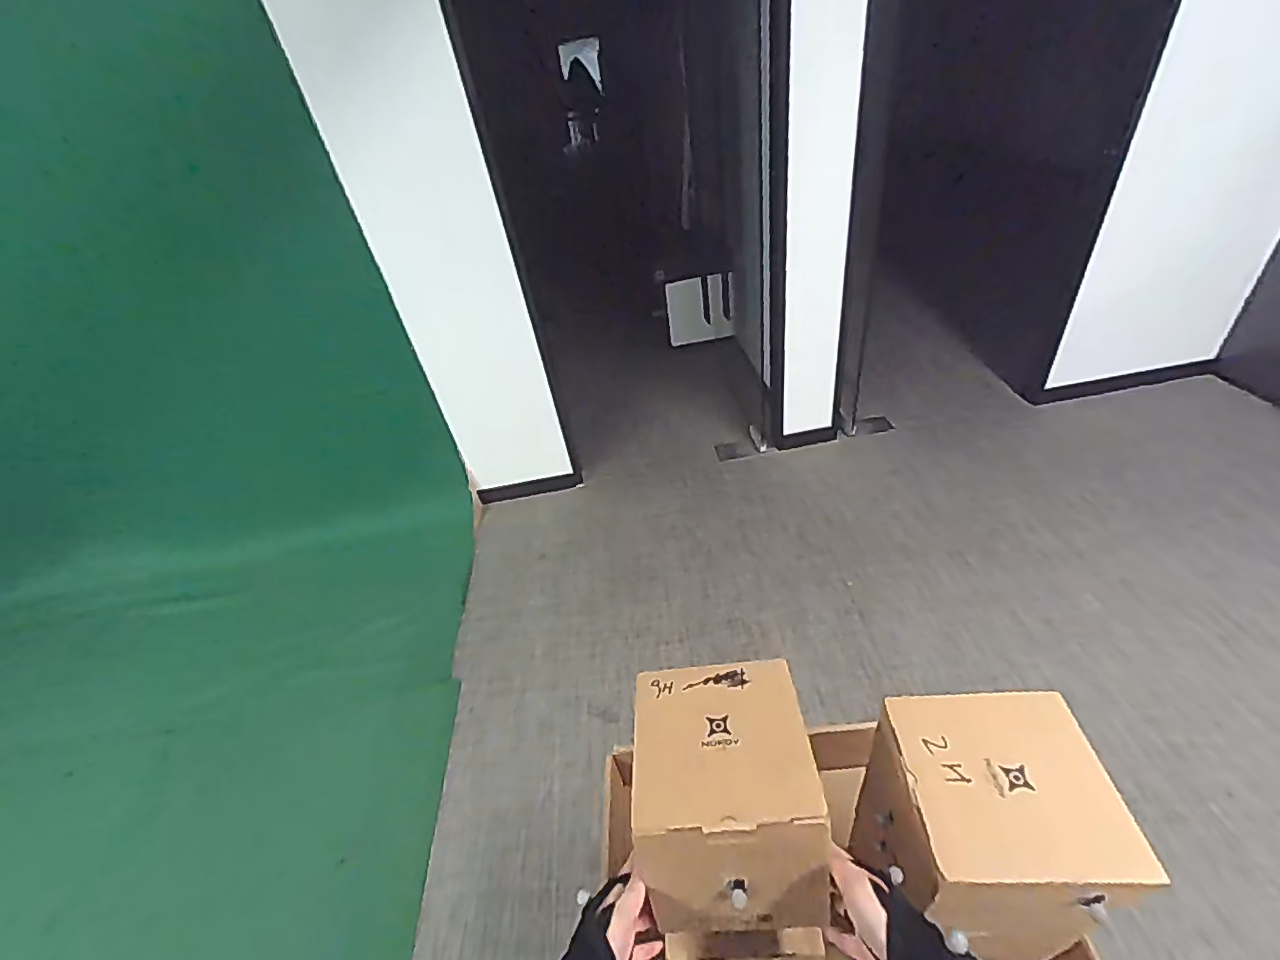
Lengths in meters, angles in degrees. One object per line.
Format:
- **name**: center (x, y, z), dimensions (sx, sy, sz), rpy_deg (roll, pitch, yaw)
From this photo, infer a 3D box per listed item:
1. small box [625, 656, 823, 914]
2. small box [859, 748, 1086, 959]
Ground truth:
- **small box**: center (0.086, 0.313, 0.557), dimensions (0.168, 0.176, 0.179), rpy_deg (-8, 27, 7)
- **small box**: center (0.378, 0.454, 0.660), dimensions (0.168, 0.176, 0.179), rpy_deg (-7, 40, 7)
